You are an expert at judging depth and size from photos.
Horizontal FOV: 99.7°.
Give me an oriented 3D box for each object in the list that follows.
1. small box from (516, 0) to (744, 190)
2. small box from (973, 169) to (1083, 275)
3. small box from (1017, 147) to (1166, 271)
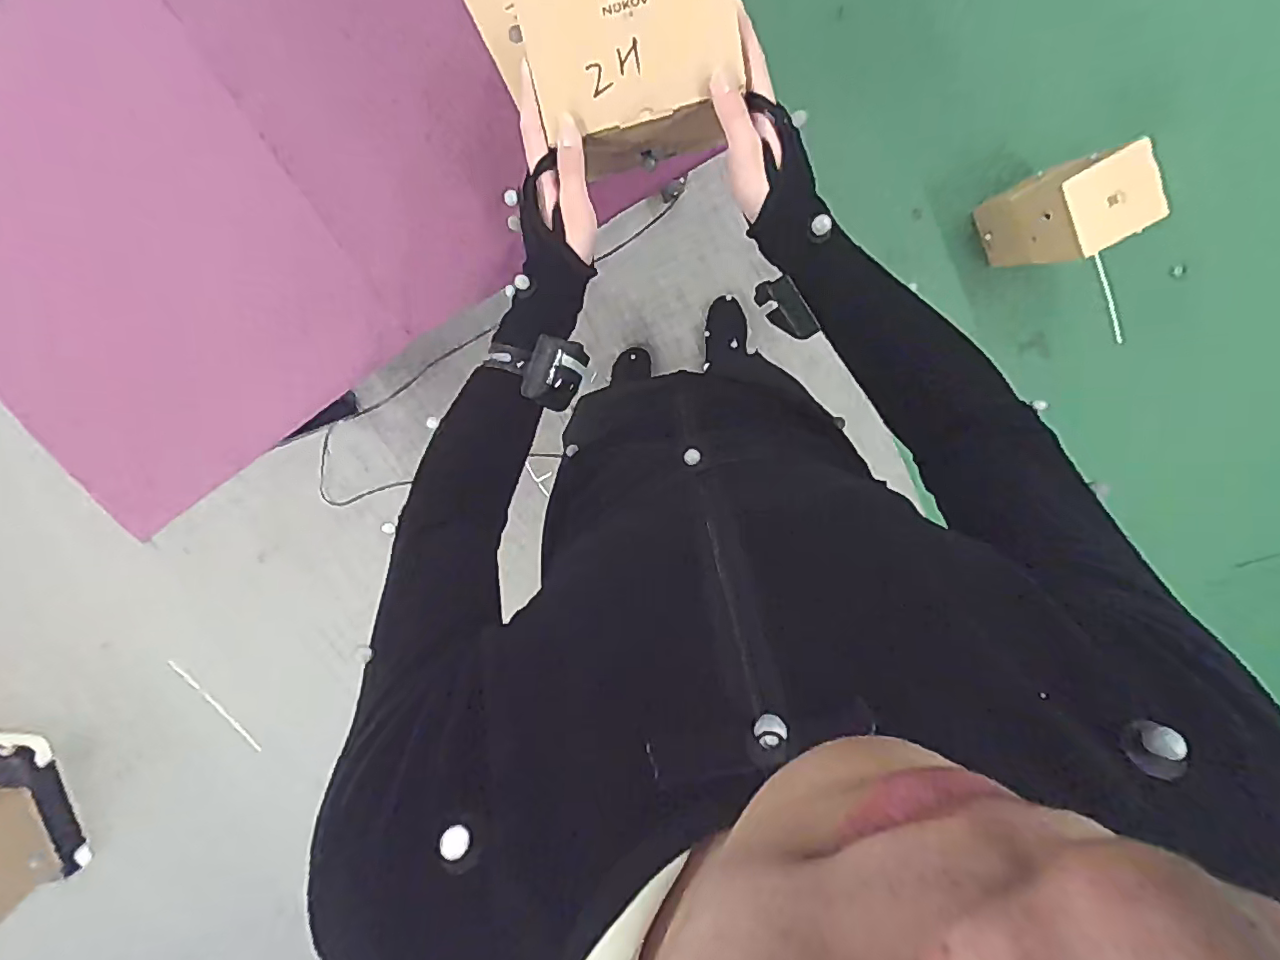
[{"bbox_3d":[-0.009,-0.387,0.489,0.168,0.176,0.179,-11,109,7],"label":"small box"},{"bbox_3d":[0.975,-0.630,1.339,0.179,0.176,0.168,-28,104,11],"label":"small box"},{"bbox_3d":[0.972,-0.579,1.186,0.179,0.176,0.168,-29,103,9],"label":"small box"}]
